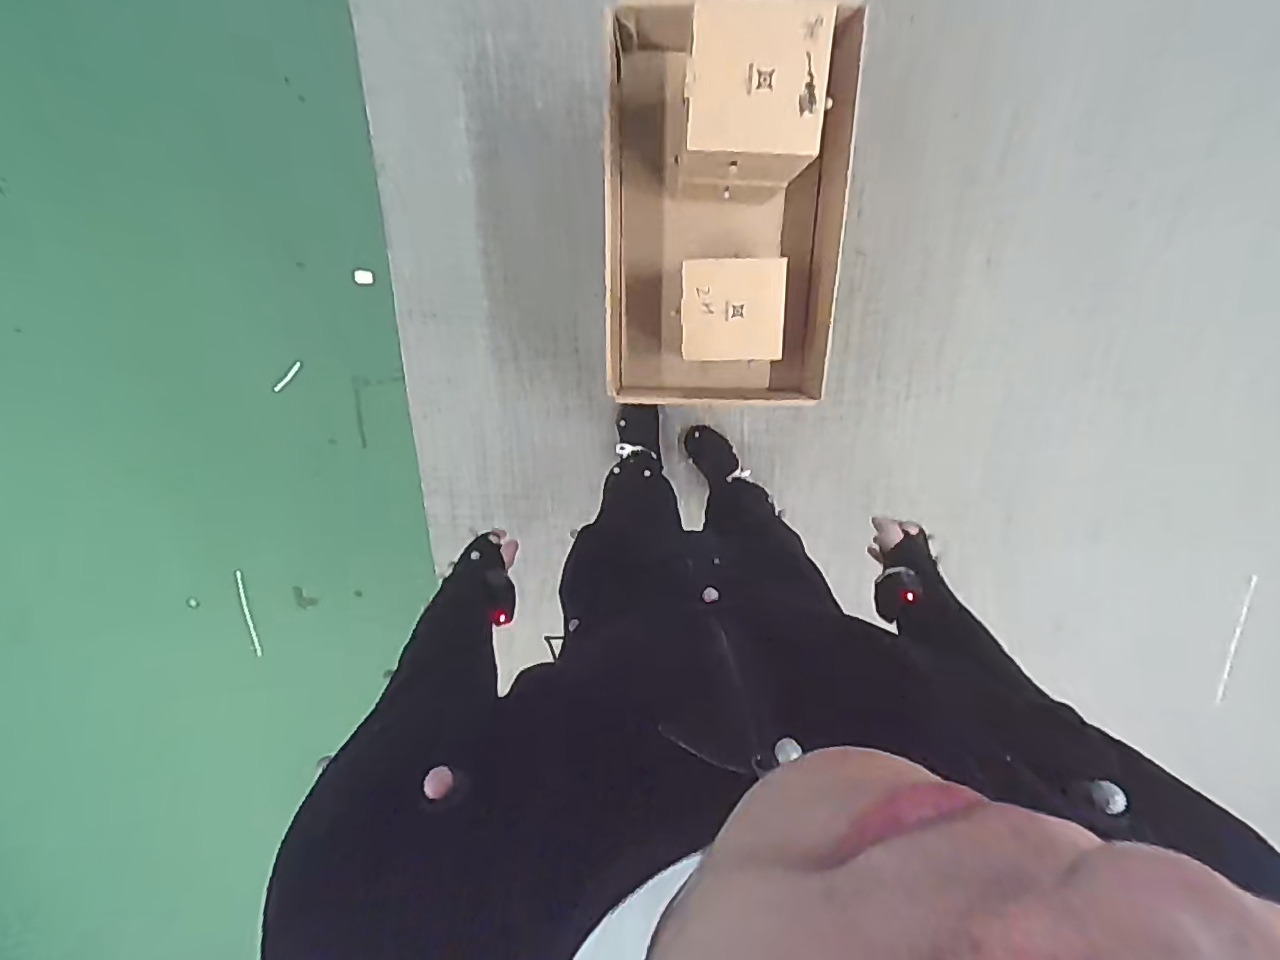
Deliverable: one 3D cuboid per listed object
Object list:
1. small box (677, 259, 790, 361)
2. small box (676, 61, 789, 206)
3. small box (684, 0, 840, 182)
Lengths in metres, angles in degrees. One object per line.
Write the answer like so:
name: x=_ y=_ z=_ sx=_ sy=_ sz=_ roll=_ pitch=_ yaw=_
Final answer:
small box: x=0.160 y=-0.306 z=0.984 sx=0.179 sy=0.176 sz=0.168 roll=0 pitch=106 yaw=1
small box: x=0.154 y=-0.570 z=0.911 sx=0.179 sy=0.176 sz=0.168 roll=3 pitch=107 yaw=-1
small box: x=0.154 y=-0.525 z=0.753 sx=0.179 sy=0.176 sz=0.168 roll=3 pitch=108 yaw=1
